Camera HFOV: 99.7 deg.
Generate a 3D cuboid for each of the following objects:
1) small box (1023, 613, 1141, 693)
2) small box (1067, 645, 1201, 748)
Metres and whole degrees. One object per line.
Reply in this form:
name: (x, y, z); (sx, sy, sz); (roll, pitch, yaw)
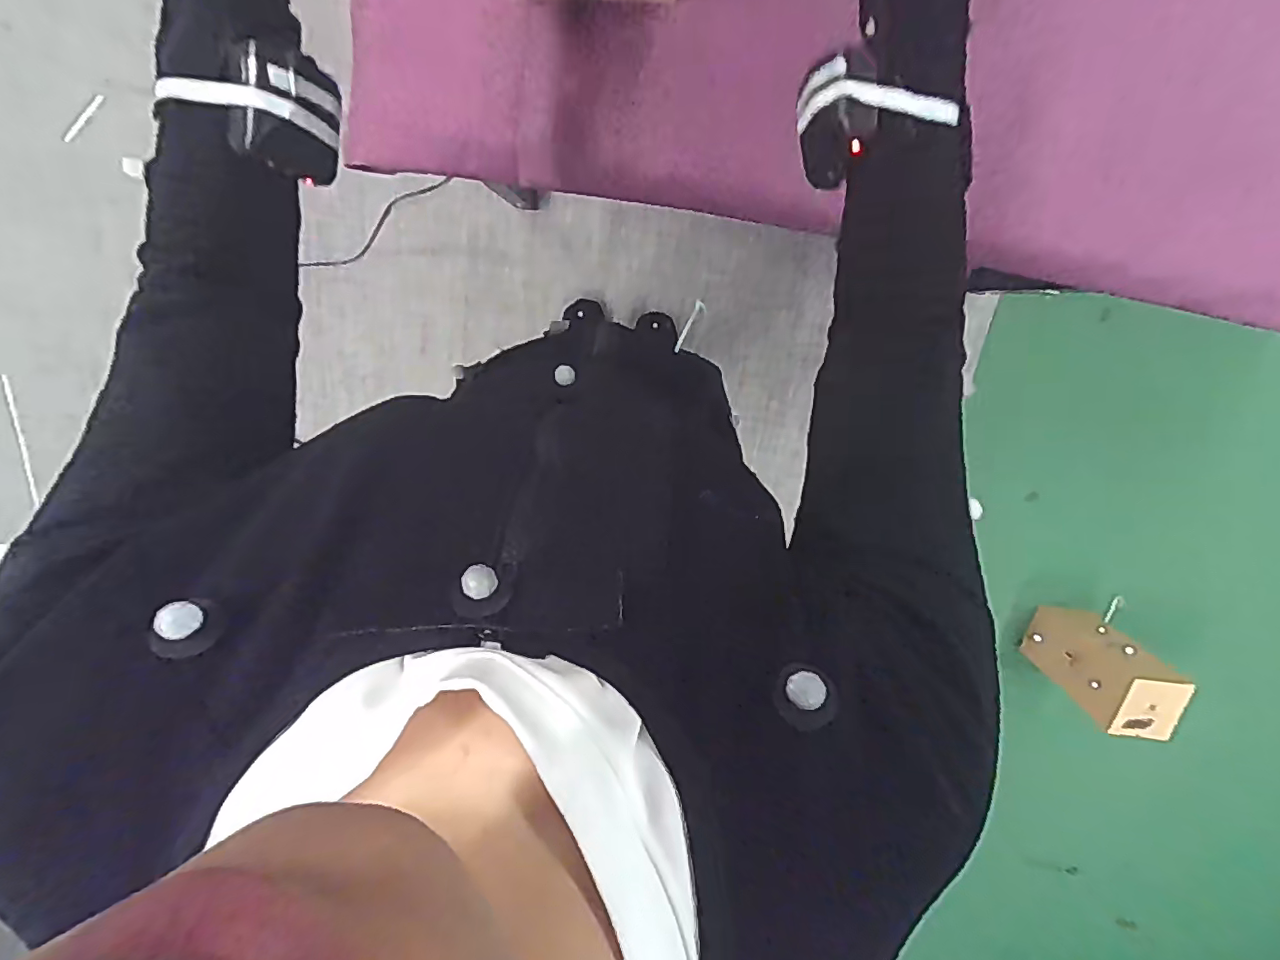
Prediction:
small box: (1.283, 0.508, 1.583); (0.179, 0.176, 0.168); (8, 108, -3)
small box: (1.285, 0.567, 1.426); (0.168, 0.176, 0.179); (10, 109, -5)
